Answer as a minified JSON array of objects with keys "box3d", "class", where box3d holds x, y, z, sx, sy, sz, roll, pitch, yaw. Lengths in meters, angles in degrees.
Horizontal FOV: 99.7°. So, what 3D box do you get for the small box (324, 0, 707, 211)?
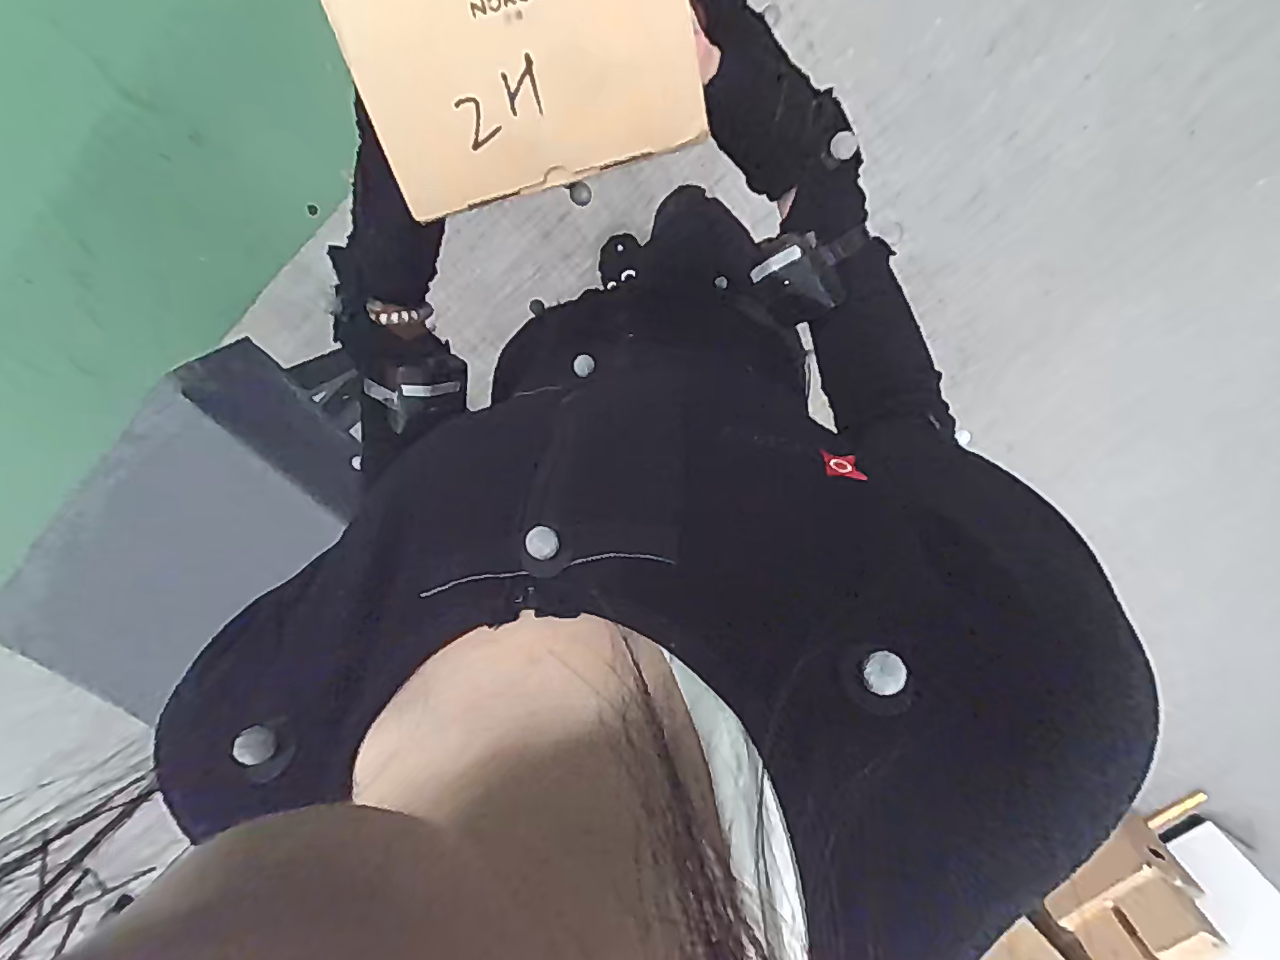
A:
[{"box3d":[-0.066,-0.274,0.311,0.168,0.176,0.179,-13,121,7],"class":"small box"}]
